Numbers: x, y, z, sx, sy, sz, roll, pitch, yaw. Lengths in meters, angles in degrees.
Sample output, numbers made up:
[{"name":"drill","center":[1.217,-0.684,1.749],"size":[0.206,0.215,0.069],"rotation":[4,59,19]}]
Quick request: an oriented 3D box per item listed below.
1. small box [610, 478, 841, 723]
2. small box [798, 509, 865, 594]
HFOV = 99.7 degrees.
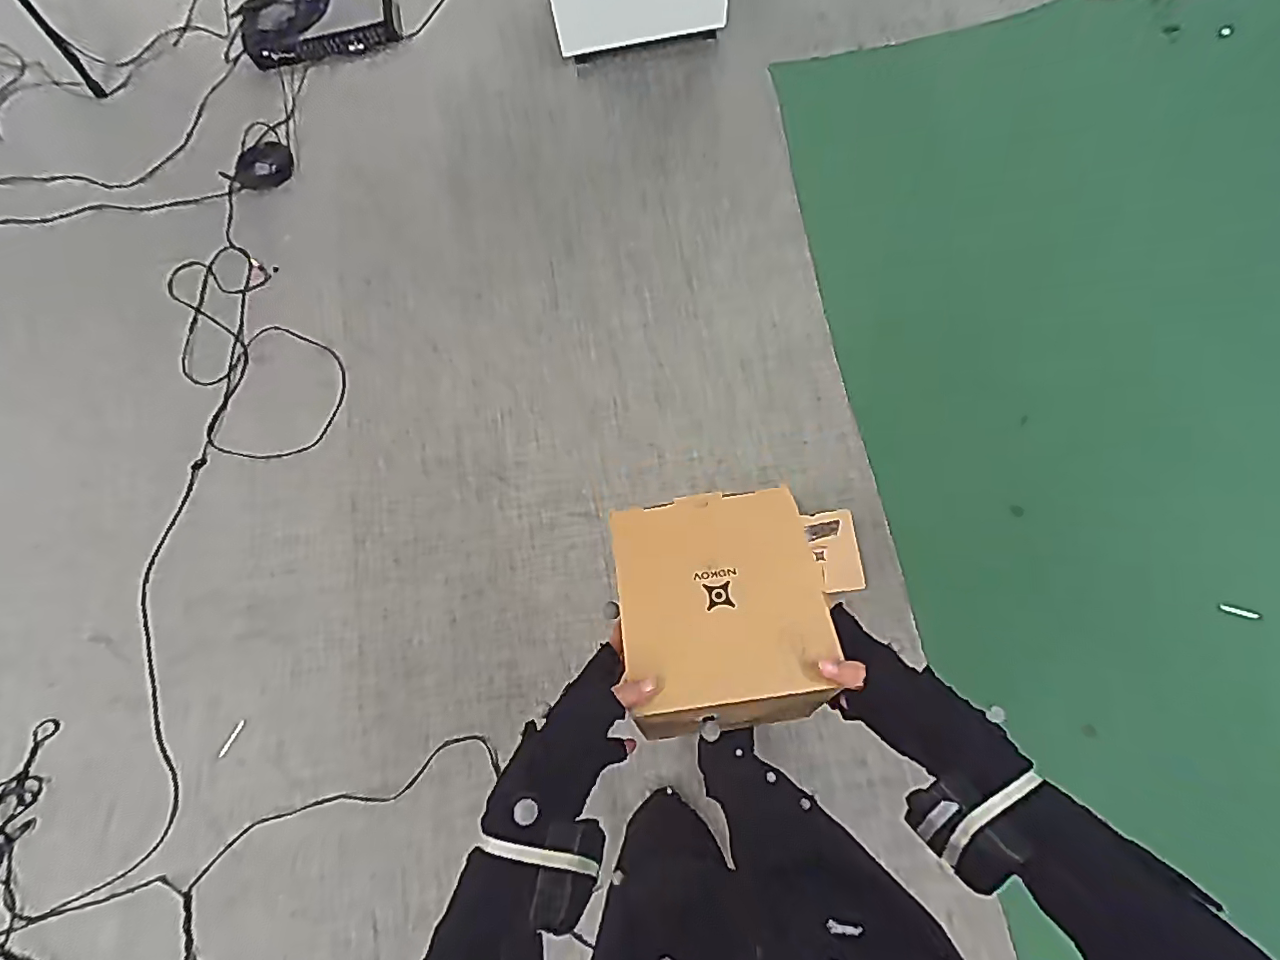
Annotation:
[{"name":"small box","center":[0.070,0.123,0.513],"size":[0.168,0.176,0.179],"rotation":[-8,57,1]},{"name":"small box","center":[0.390,0.173,1.236],"size":[0.168,0.176,0.179],"rotation":[-7,77,3]}]
